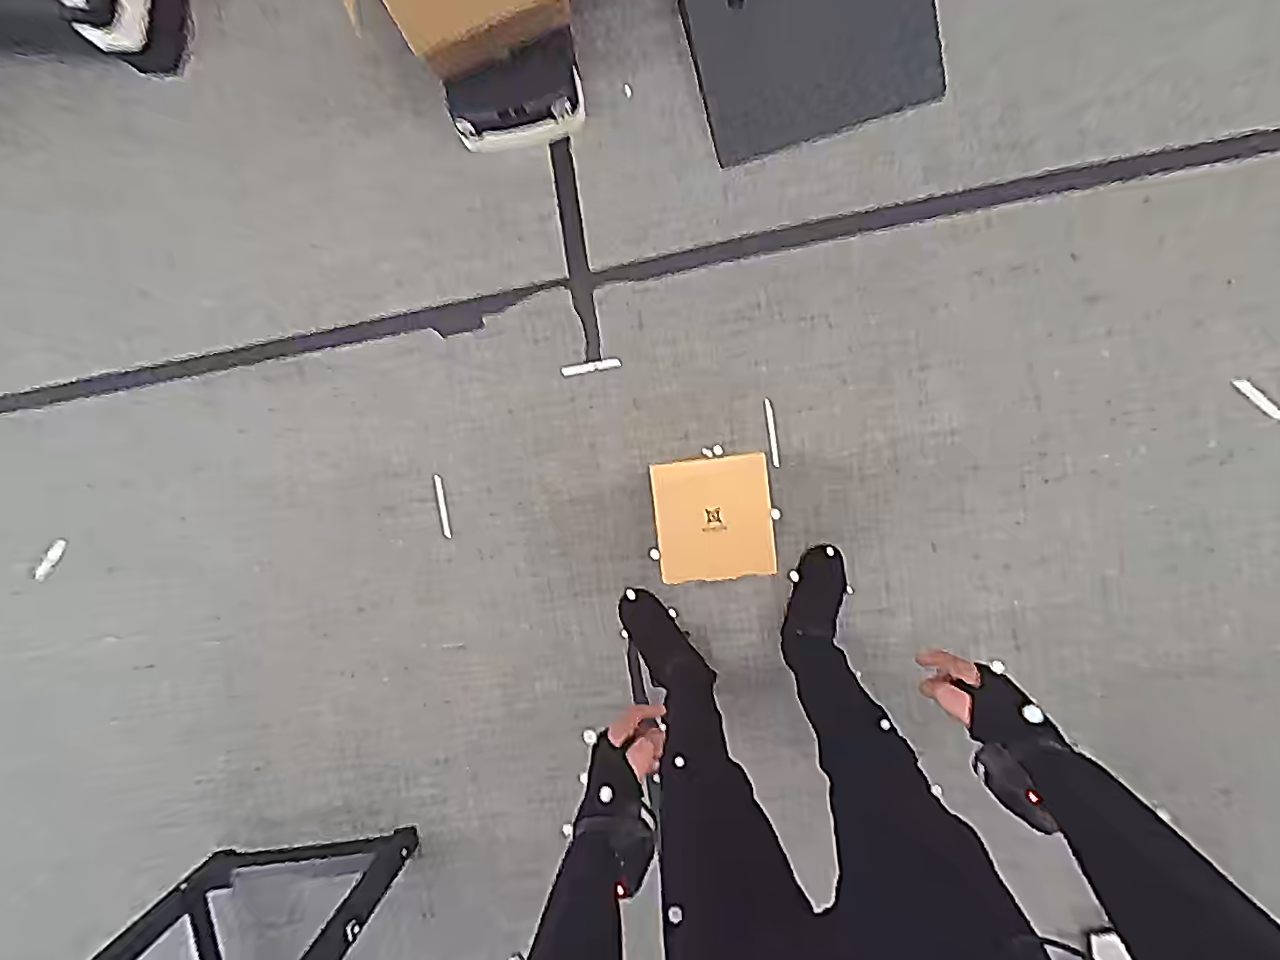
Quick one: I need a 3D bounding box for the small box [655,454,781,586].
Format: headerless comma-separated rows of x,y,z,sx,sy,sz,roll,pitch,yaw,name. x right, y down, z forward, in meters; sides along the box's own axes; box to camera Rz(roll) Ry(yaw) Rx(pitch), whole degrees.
0.113,0.054,0.842,0.168,0.176,0.179,-7,94,5,small box
